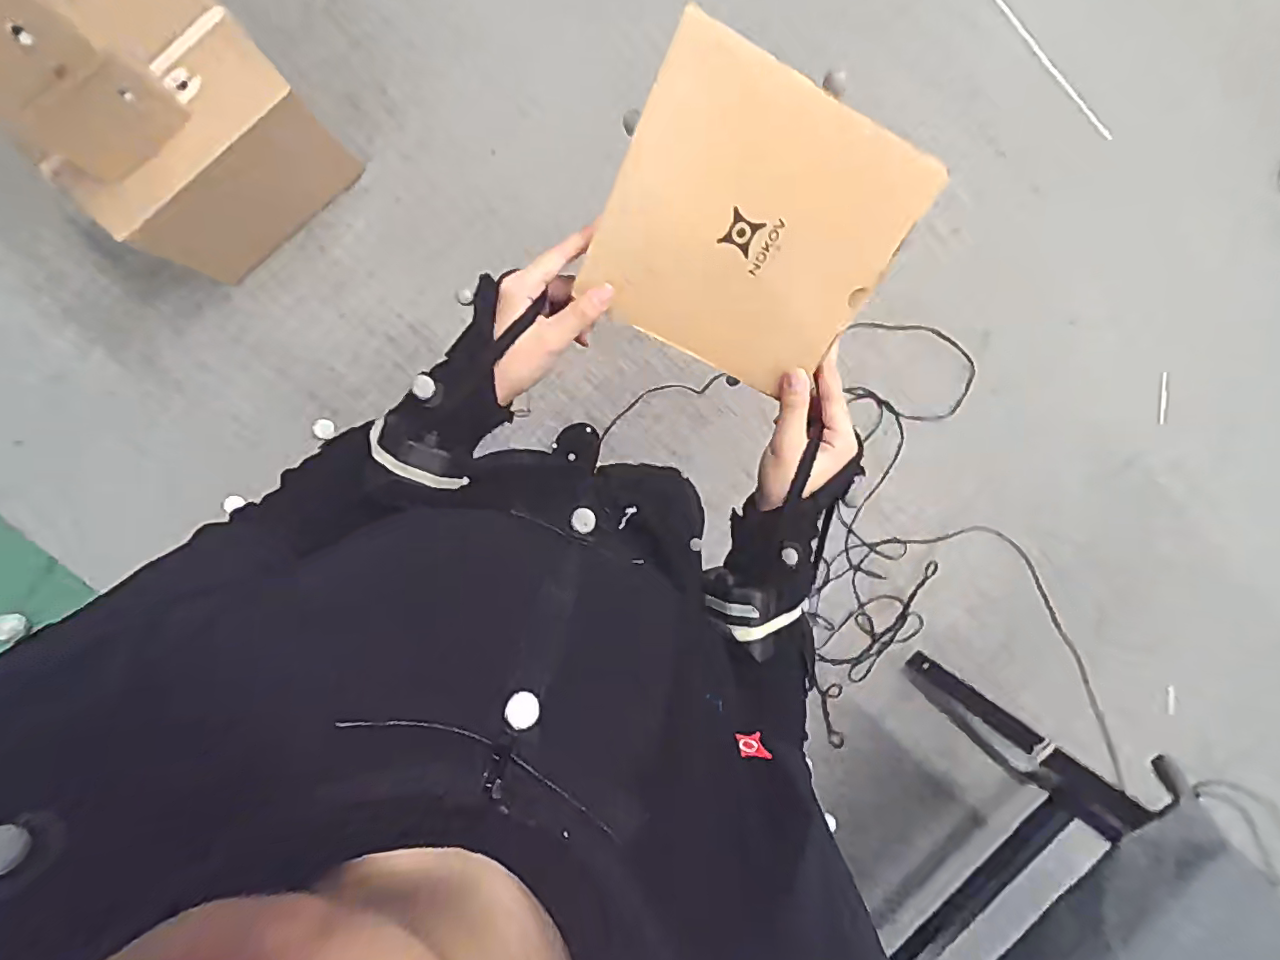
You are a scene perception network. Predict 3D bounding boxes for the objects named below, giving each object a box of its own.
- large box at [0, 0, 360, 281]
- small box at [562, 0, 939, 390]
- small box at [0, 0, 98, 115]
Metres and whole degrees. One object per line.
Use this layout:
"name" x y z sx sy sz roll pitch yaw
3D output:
"large box" -0.856 -0.670 1.050 0.408 0.320 0.320 -42 100 -1
"small box" 0.063 -0.198 0.399 0.179 0.176 0.168 22 121 -11
"small box" -0.838 -0.586 0.649 0.168 0.176 0.179 -43 98 -2
